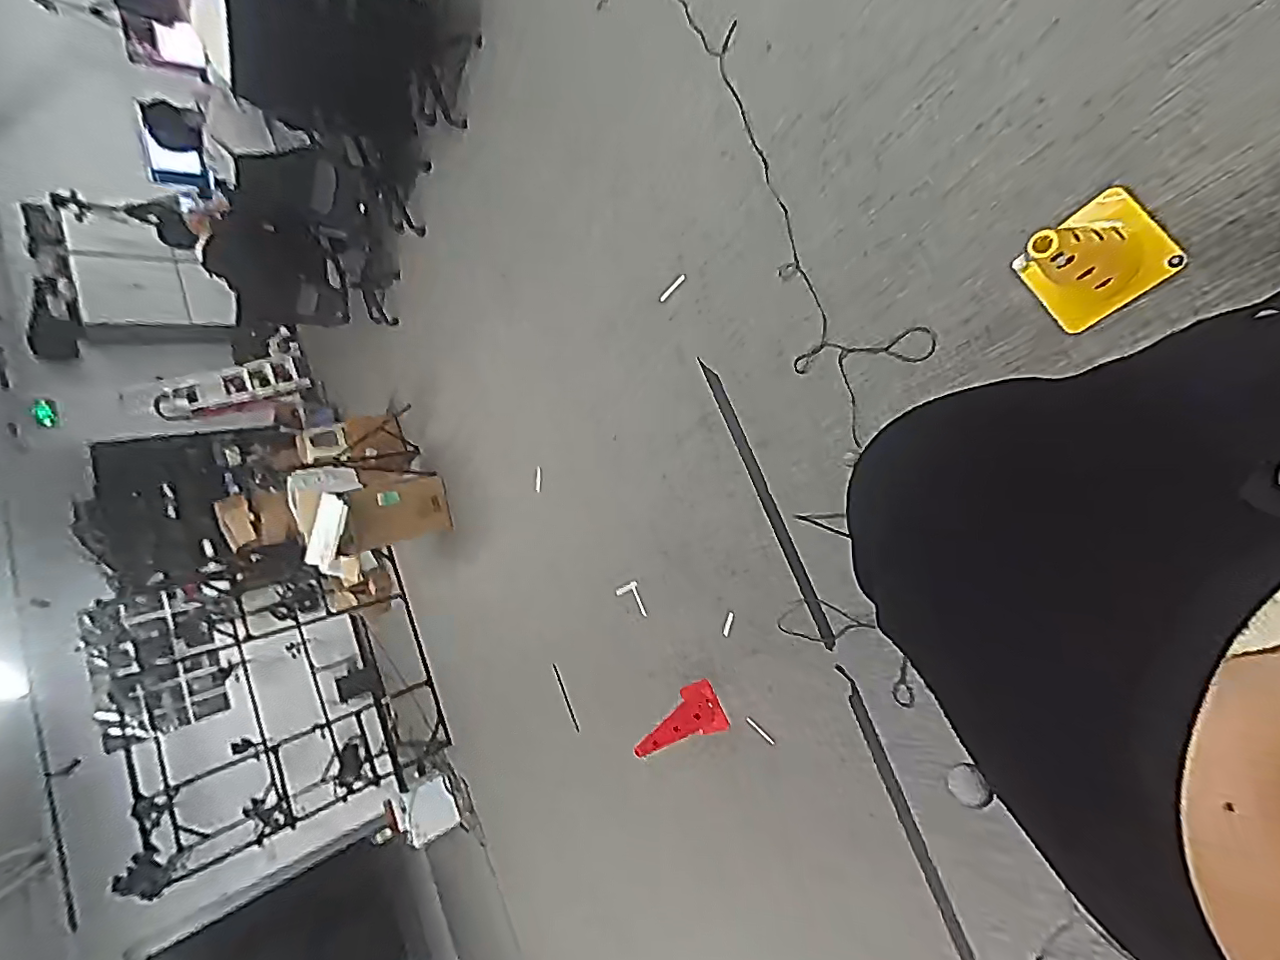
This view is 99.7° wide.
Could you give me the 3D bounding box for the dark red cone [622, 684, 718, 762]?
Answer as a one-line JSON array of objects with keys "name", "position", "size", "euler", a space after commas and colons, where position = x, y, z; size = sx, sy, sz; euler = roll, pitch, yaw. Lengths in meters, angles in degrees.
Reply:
[{"name": "dark red cone", "position": [0.093, 0.942, 2.020], "size": [0.201, 0.394, 0.202], "euler": [-44, 67, 45]}]
